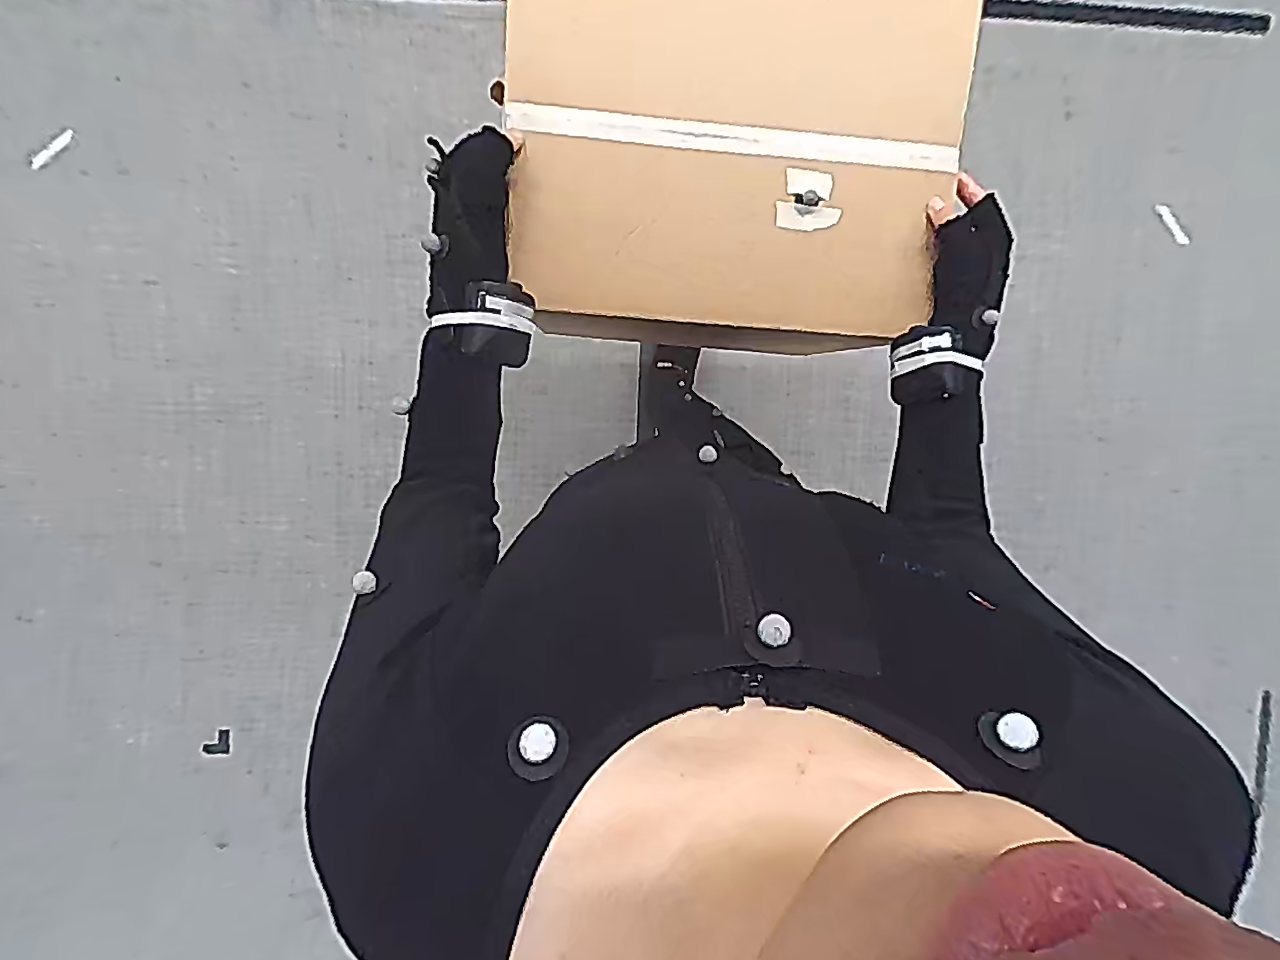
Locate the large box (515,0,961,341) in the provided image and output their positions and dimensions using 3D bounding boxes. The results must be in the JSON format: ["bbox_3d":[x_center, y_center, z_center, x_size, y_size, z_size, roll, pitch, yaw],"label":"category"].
[{"bbox_3d":[0.075,-0.343,0.641,0.408,0.320,0.320,3,101,-5],"label":"large box"}]
